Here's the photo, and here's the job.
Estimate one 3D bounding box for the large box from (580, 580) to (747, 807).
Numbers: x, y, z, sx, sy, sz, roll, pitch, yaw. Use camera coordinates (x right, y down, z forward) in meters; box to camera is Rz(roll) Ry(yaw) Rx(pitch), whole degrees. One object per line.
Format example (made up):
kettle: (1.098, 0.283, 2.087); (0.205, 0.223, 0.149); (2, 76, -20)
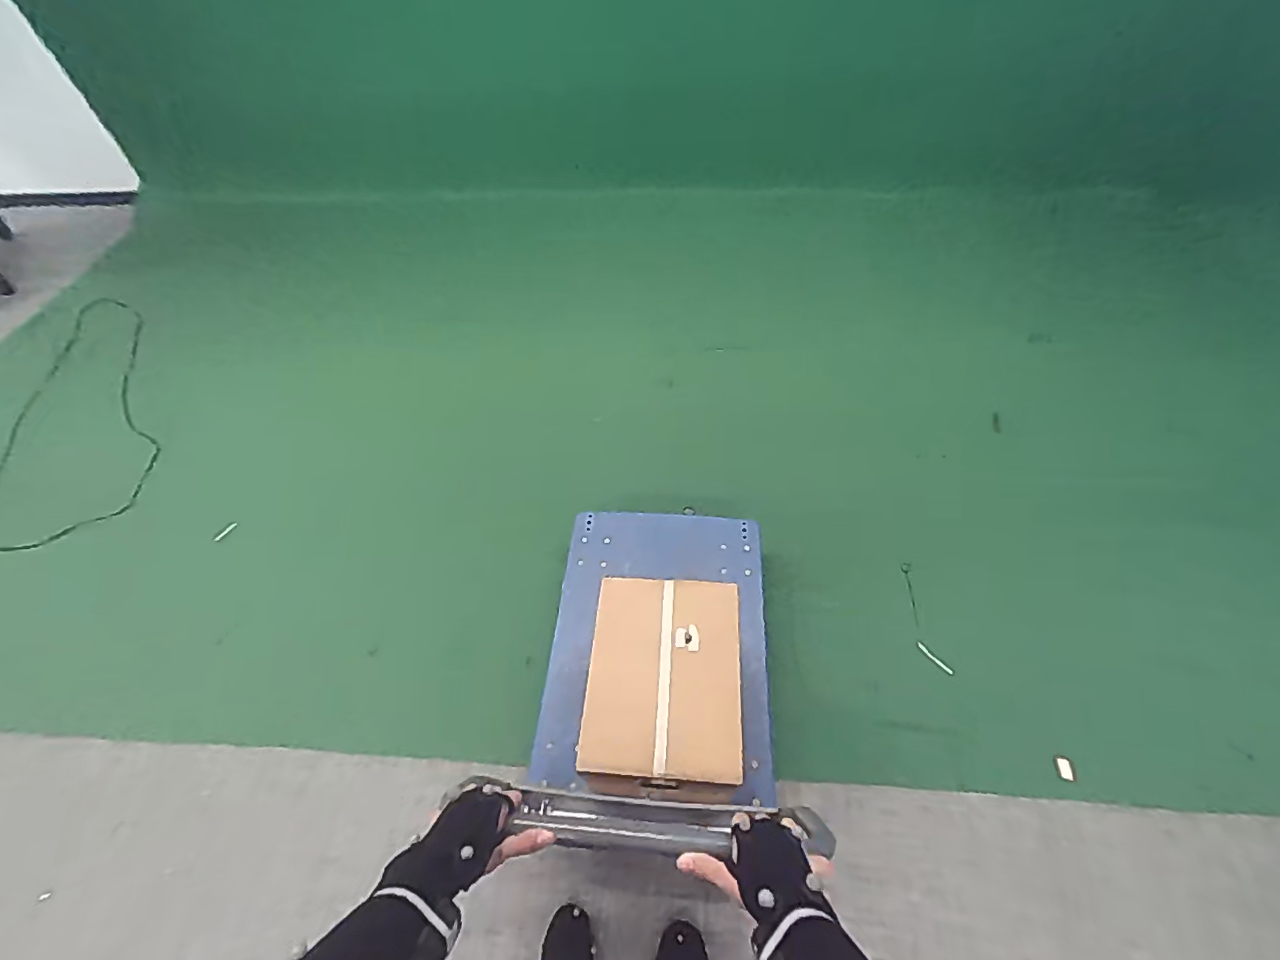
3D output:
large box: (0.062, 0.481, 1.221); (0.320, 0.320, 0.408); (3, 52, 4)
